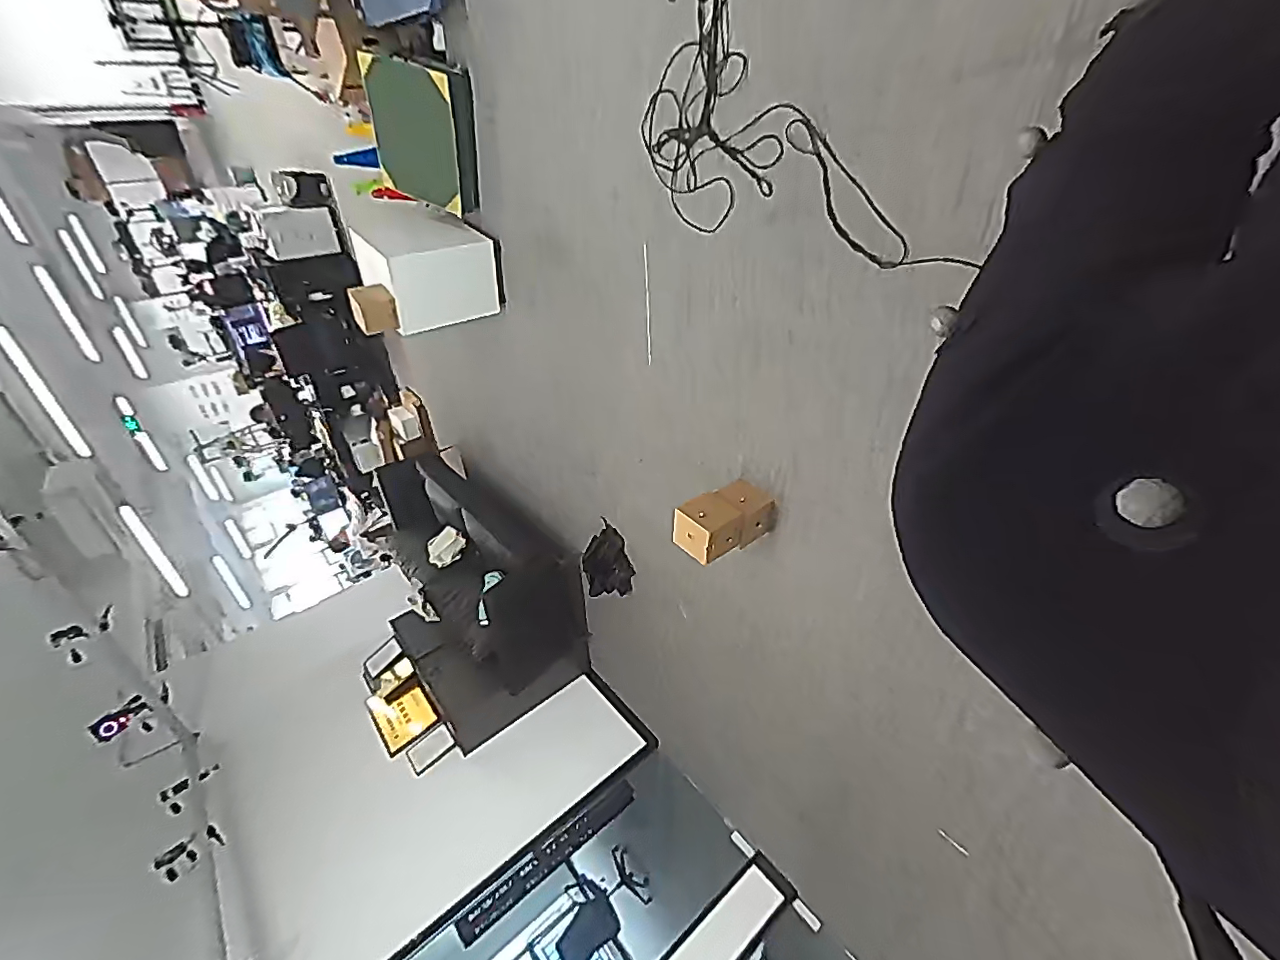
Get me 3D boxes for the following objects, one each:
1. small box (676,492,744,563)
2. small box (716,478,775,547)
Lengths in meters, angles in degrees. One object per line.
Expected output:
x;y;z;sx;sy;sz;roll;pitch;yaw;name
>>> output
0.254;0.164;1.973;0.179;0.176;0.168;35;138;38;small box
0.388;0.118;2.055;0.179;0.176;0.168;35;138;38;small box
